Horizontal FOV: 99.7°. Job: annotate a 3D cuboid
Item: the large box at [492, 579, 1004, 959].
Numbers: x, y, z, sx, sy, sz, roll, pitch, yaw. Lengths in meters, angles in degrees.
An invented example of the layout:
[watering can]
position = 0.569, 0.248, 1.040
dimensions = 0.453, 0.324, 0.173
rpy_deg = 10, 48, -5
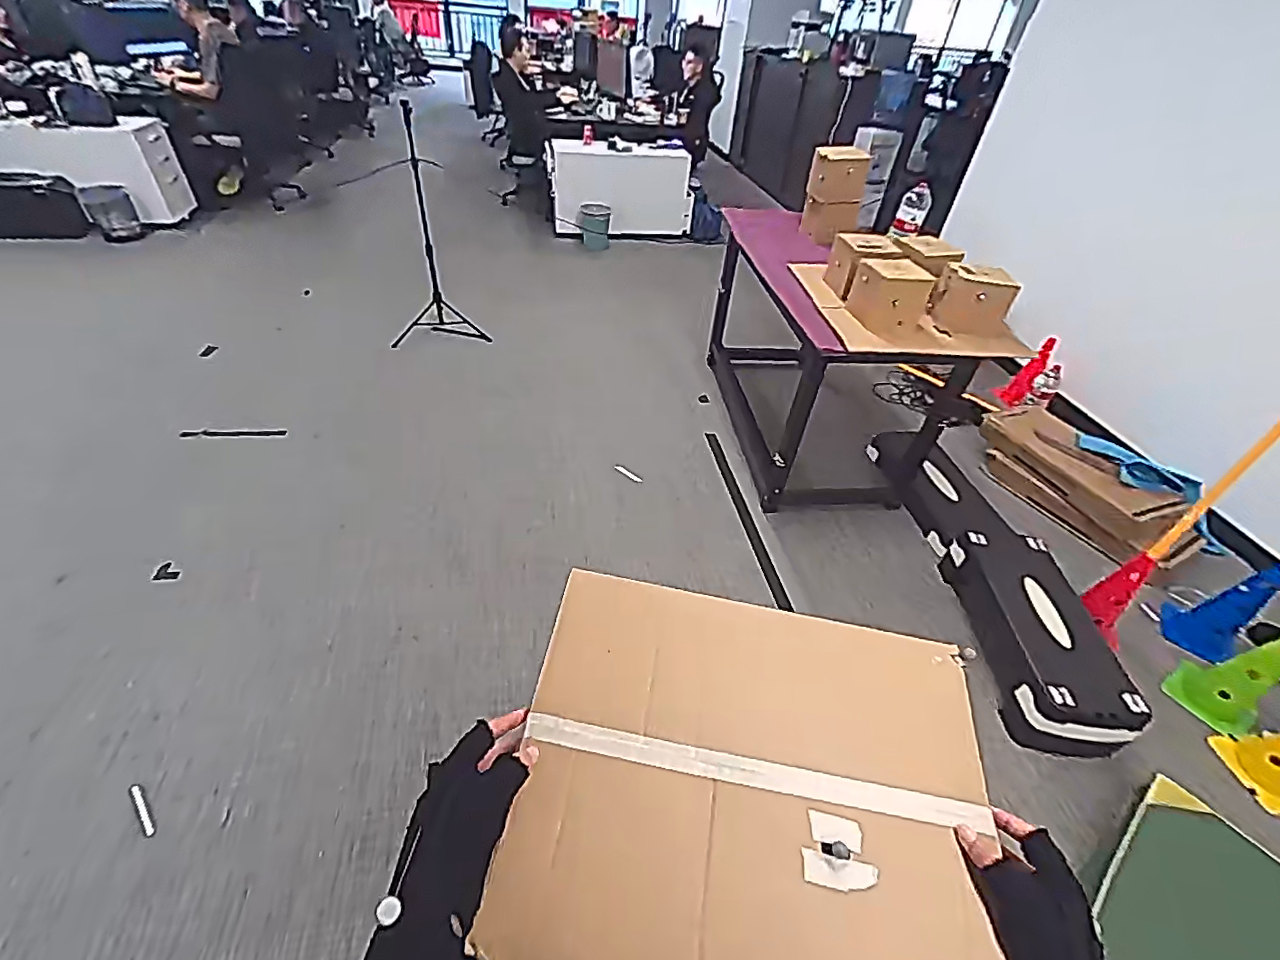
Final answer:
[large box]
position = 0.091, 0.349, 0.604
dimensions = 0.408, 0.320, 0.320
rpy_deg = 11, 53, 2
